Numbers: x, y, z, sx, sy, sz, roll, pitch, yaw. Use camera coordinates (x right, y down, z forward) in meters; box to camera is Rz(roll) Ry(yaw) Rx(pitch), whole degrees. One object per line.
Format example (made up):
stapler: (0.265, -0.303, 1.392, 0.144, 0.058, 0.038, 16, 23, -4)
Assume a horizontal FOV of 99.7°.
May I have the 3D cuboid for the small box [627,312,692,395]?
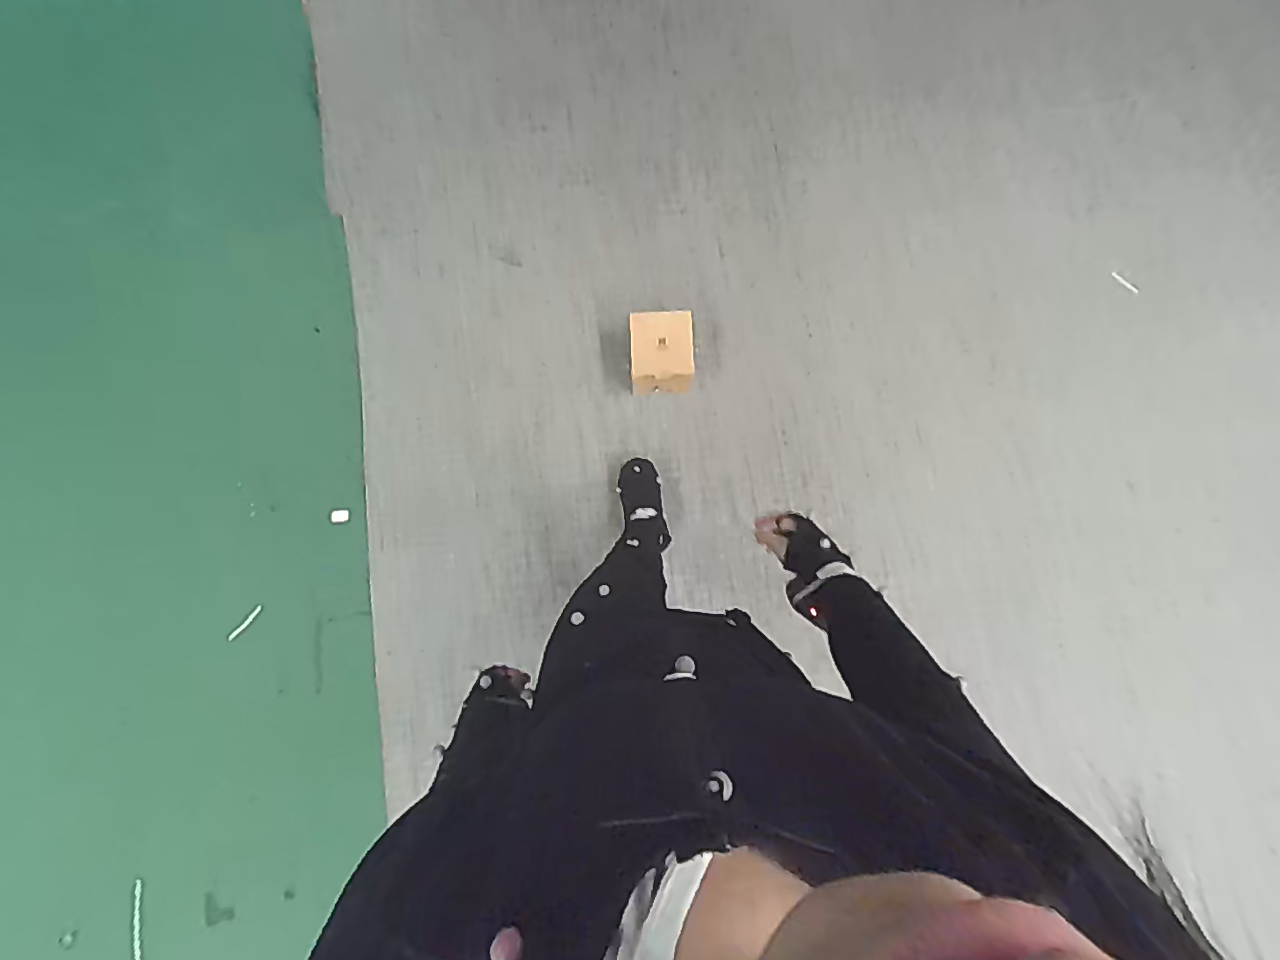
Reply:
small box: (0.050, -0.345, 1.494, 0.168, 0.176, 0.179, -2, 83, -1)
